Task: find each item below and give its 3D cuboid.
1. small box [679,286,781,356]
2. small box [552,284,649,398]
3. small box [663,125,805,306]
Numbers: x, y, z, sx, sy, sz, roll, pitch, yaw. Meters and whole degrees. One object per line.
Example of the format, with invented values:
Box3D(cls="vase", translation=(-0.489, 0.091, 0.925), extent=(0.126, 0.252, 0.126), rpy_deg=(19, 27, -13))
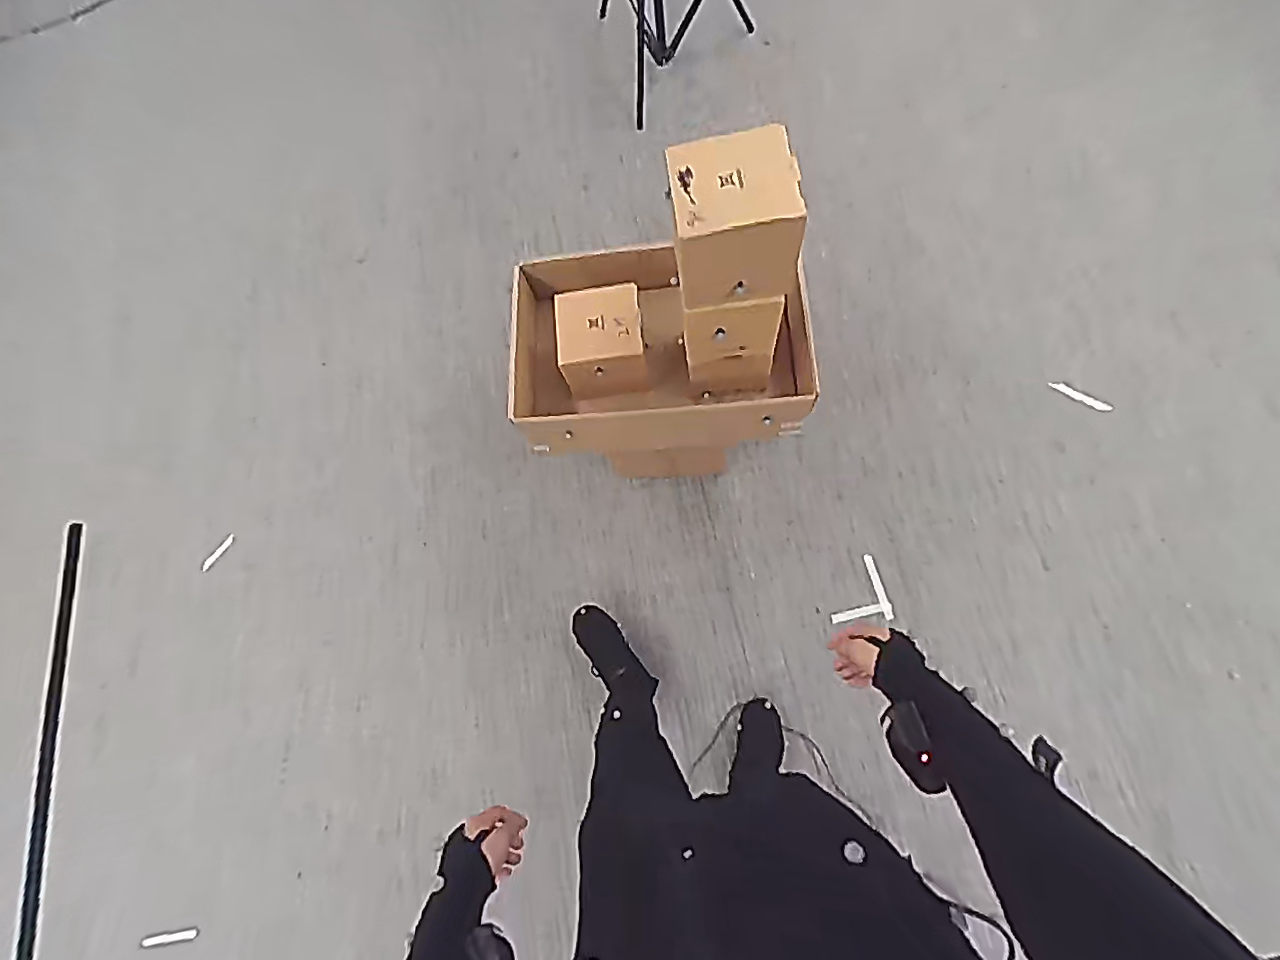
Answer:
Box3D(cls="small box", translation=(0.153, -0.339, 0.976), extent=(0.168, 0.176, 0.179), rpy_deg=(-6, 72, 6))
Box3D(cls="small box", translation=(-0.081, -0.289, 1.162), extent=(0.179, 0.176, 0.168), rpy_deg=(-7, 73, 4))
Box3D(cls="small box", translation=(0.134, -0.390, 0.821), extent=(0.179, 0.176, 0.168), rpy_deg=(-8, 71, 5))
